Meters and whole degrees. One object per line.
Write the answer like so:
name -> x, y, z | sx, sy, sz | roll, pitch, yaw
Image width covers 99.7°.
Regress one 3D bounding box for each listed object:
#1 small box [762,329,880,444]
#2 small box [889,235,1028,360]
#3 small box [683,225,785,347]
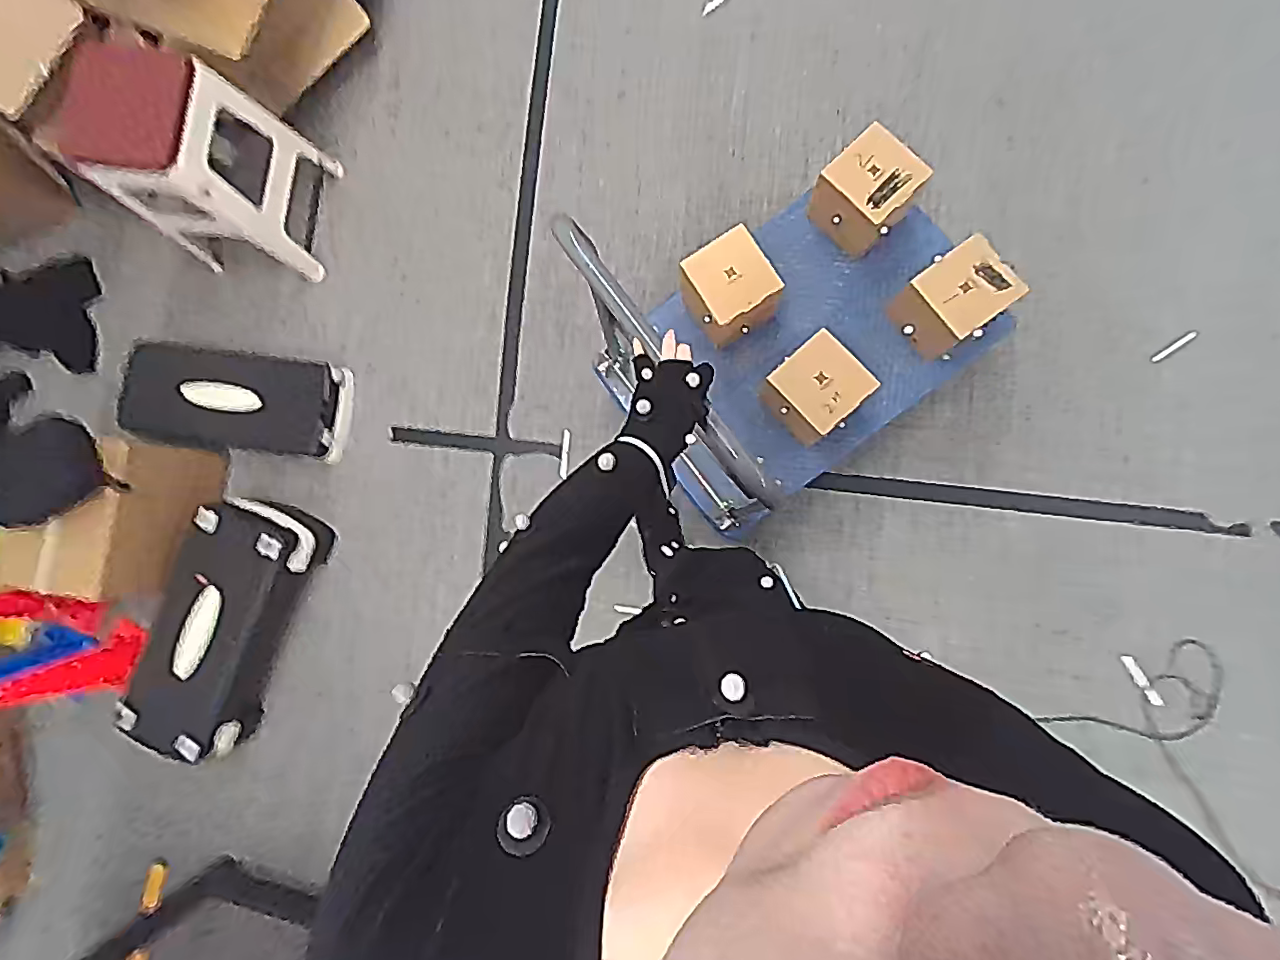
small box -> 0.397, -0.202, 1.226 | 0.168, 0.176, 0.179 | -41, 82, 2
small box -> 0.698, -0.399, 1.209 | 0.179, 0.176, 0.168 | -36, 83, 3
small box -> 0.211, -0.444, 1.266 | 0.168, 0.176, 0.179 | -32, 84, 2
